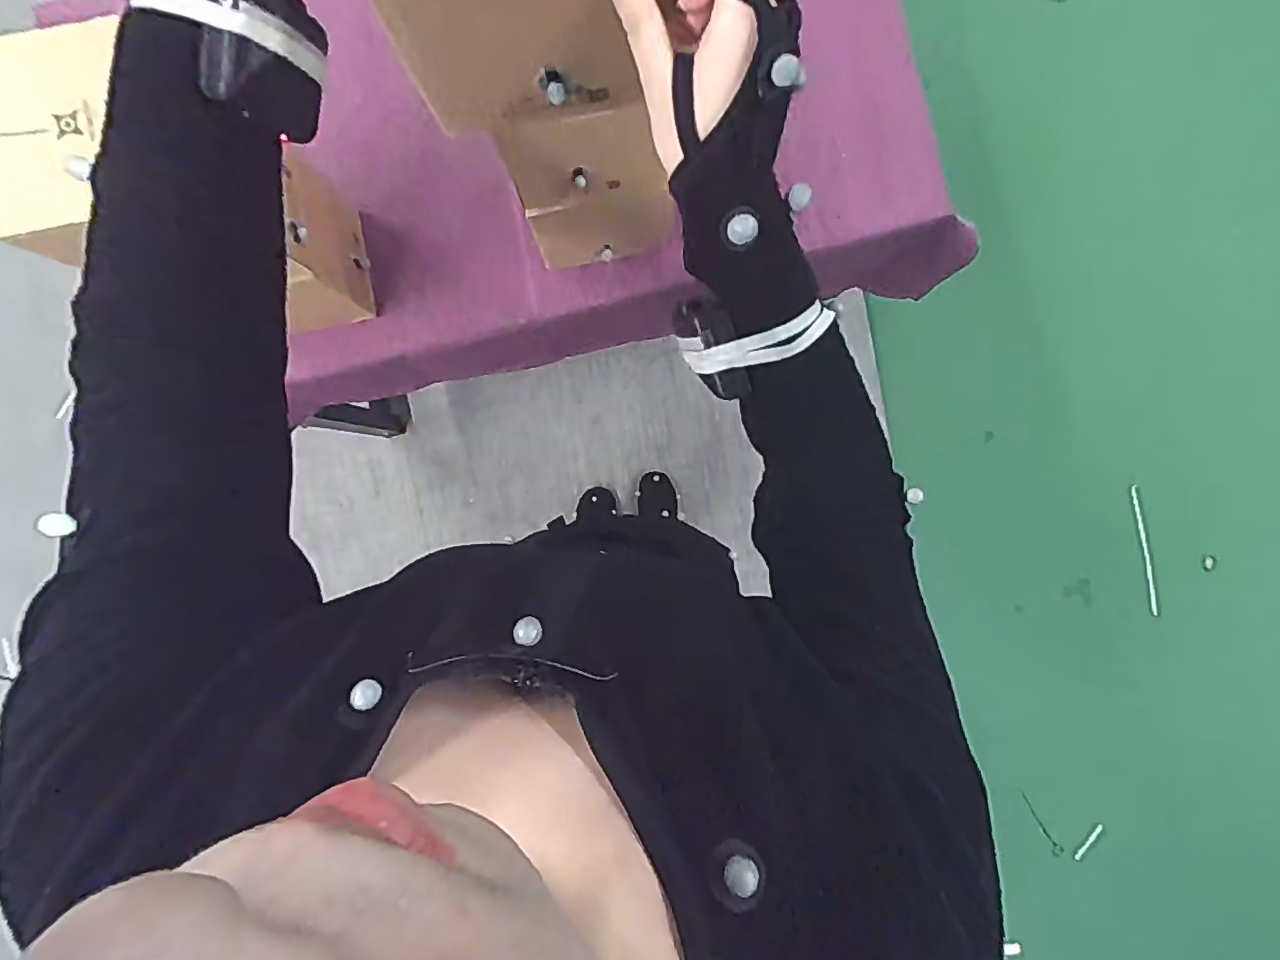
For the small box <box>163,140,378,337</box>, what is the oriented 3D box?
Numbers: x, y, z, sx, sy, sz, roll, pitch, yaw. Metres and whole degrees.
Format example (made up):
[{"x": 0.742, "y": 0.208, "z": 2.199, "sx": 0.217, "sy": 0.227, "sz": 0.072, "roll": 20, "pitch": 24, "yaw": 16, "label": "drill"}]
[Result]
[{"x": -0.473, "y": -0.295, "z": 0.698, "sx": 0.179, "sy": 0.176, "sz": 0.168, "roll": -11, "pitch": 91, "yaw": -1, "label": "small box"}]

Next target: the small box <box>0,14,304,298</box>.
[{"x": -0.466, "y": -0.297, "z": 0.533, "sx": 0.179, "sy": 0.176, "sz": 0.168, "roll": -11, "pitch": 91, "yaw": 0, "label": "small box"}]

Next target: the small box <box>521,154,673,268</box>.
[{"x": -0.065, "y": -0.399, "z": 0.702, "sx": 0.179, "sy": 0.176, "sz": 0.168, "roll": -12, "pitch": 90, "yaw": -1, "label": "small box"}]

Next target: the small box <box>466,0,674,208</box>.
[{"x": -0.067, "y": -0.407, "z": 0.538, "sx": 0.168, "sy": 0.176, "sz": 0.179, "roll": -11, "pitch": 92, "yaw": 0, "label": "small box"}]
